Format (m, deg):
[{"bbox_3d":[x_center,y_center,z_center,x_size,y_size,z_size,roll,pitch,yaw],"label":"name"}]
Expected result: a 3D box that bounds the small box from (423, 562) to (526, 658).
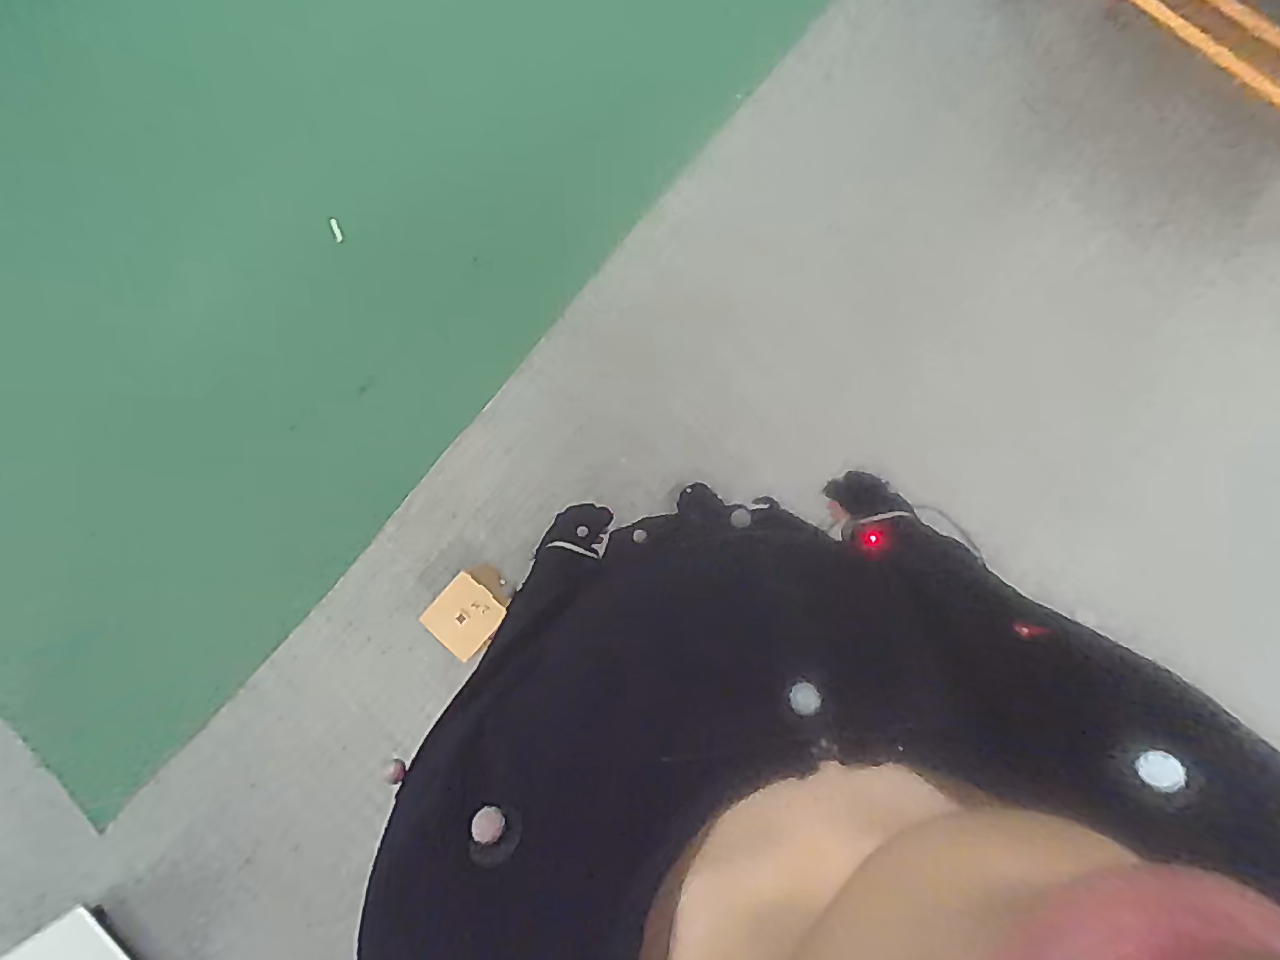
[{"bbox_3d":[-0.432,0.338,1.443,0.168,0.176,0.179,42,90,5],"label":"small box"}]
